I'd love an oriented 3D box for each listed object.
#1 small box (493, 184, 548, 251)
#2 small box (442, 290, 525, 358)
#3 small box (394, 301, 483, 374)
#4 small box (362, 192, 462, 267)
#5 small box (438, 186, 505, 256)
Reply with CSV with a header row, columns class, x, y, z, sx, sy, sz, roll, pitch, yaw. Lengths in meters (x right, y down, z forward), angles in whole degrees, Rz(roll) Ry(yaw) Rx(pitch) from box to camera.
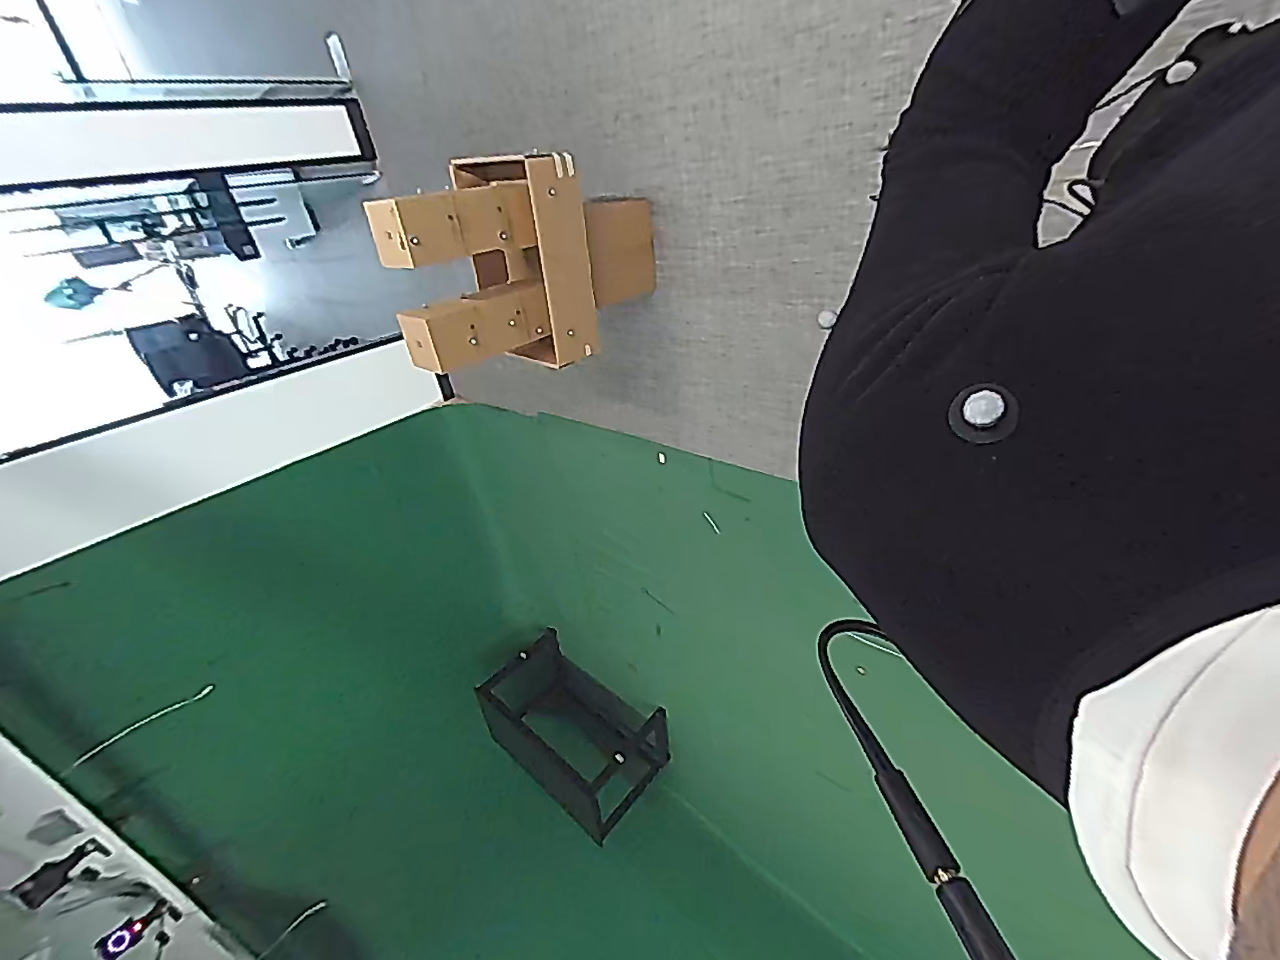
class,x,y,z,sx,sy,sz,roll,pitch,yaw
small box,-0.410,-0.824,1.689,0.179,0.176,0.168,23,131,34
small box,-0.499,-0.507,1.736,0.179,0.176,0.168,20,130,37
small box,-0.605,-0.437,1.633,0.179,0.176,0.168,21,130,37
small box,-0.618,-0.685,1.475,0.179,0.176,0.168,20,129,37
small box,-0.514,-0.758,1.579,0.179,0.176,0.168,20,128,38
